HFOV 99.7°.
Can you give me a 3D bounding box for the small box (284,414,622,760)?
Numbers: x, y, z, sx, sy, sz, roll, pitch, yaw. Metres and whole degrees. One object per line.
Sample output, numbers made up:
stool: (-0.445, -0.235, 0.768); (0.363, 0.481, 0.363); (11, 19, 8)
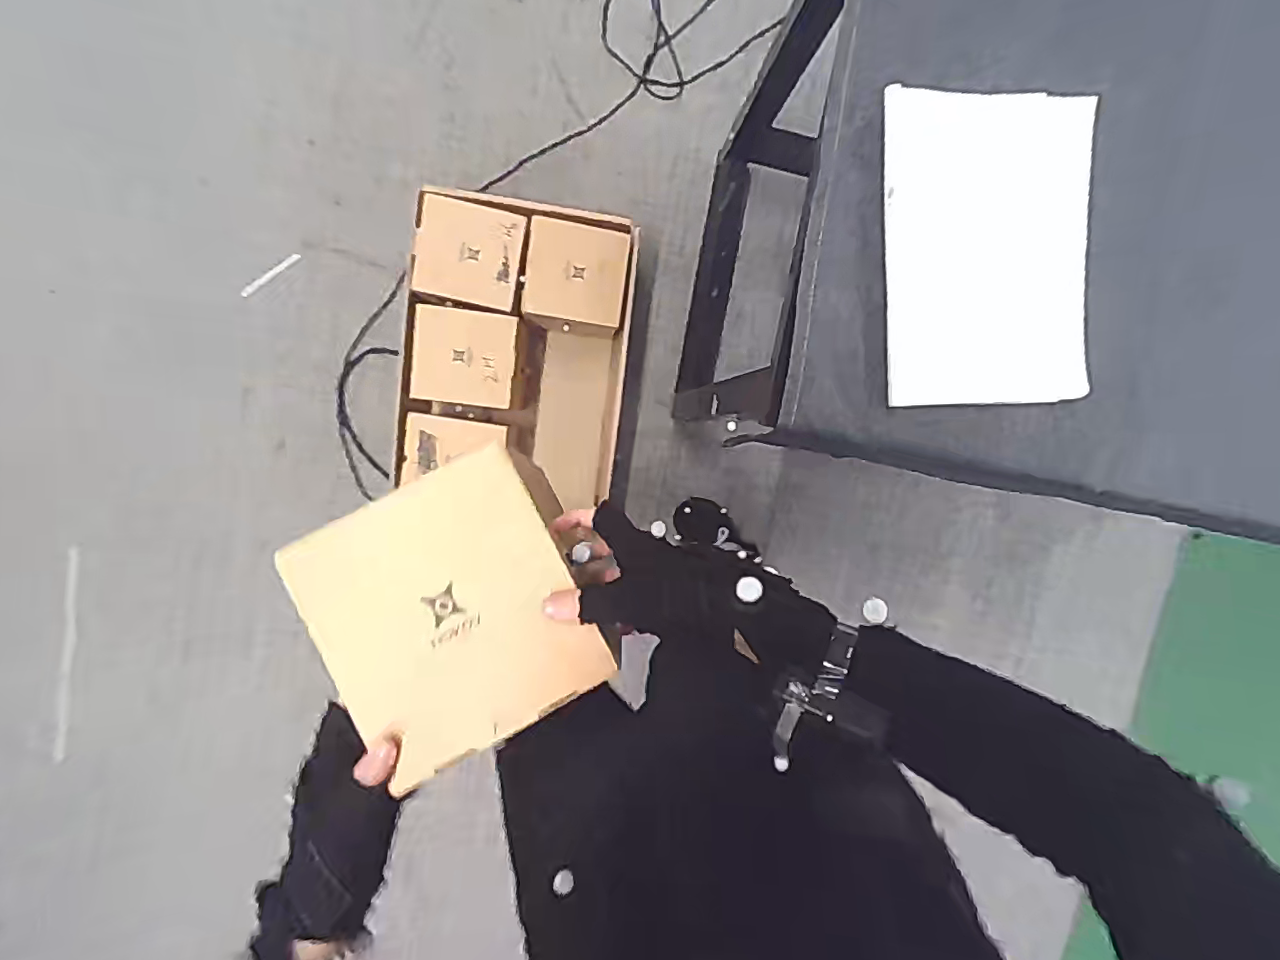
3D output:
small box: (-0.126, 0.073, 0.428); (0.168, 0.176, 0.179); (-26, 87, -5)
